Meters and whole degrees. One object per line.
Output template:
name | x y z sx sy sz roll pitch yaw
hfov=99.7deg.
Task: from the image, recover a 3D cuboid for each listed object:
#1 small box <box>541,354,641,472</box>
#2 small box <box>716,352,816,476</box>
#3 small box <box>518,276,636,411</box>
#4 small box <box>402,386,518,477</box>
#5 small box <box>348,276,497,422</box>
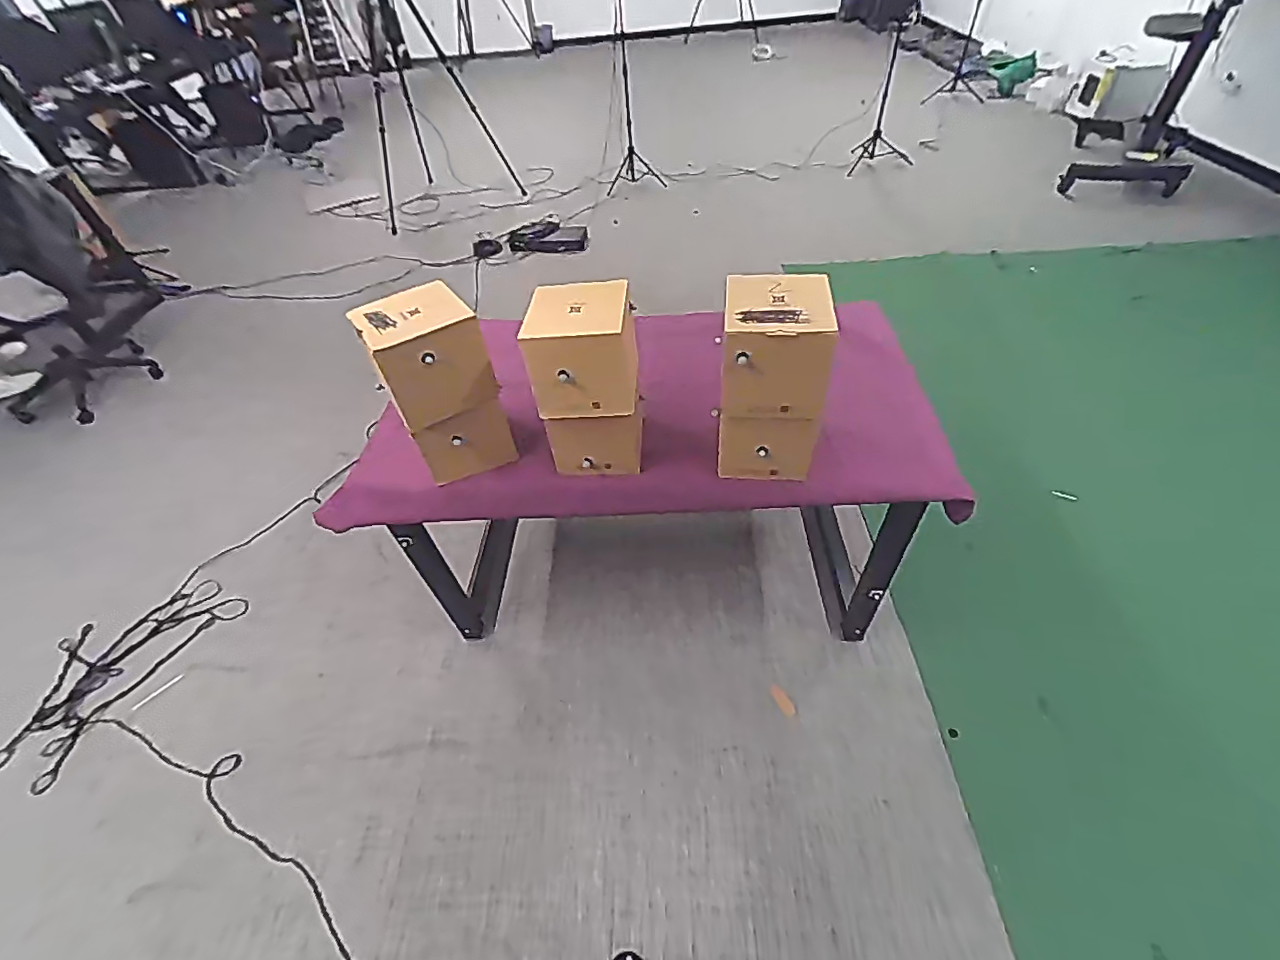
small box | -0.087 -0.134 1.075 0.168 0.176 0.179 -1 47 5
small box | 0.234 -0.124 1.034 0.168 0.176 0.179 3 48 7
small box | -0.099 -0.233 0.945 0.168 0.176 0.179 -2 46 5
small box | -0.367 -0.131 1.096 0.179 0.176 0.168 -20 49 -13
small box | -0.381 -0.232 0.965 0.179 0.176 0.168 -28 51 -21
